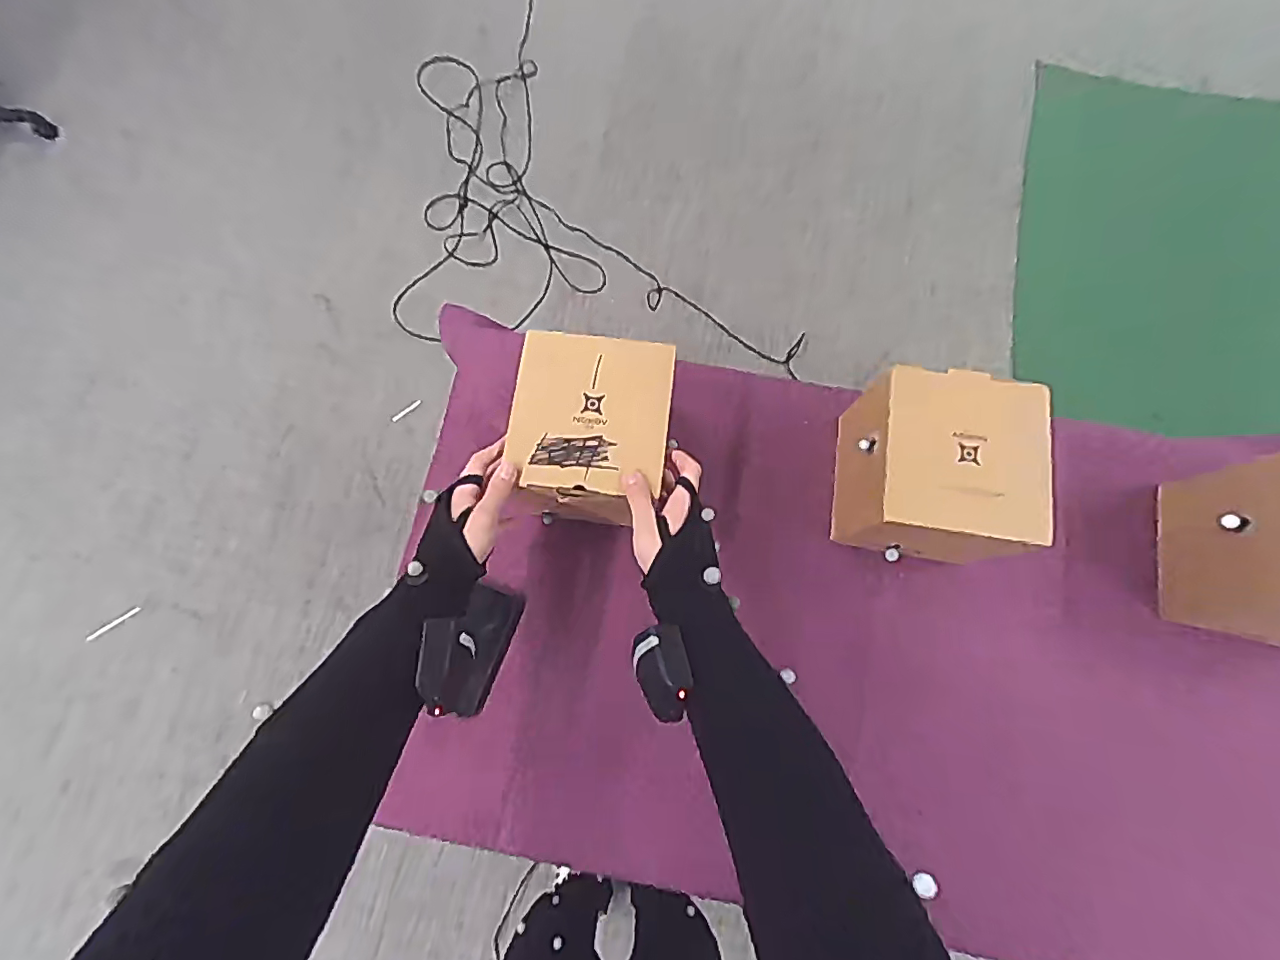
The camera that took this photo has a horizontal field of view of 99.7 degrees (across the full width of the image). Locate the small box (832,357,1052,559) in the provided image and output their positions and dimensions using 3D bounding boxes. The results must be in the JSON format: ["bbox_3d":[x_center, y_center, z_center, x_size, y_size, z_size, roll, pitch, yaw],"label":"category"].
[{"bbox_3d":[0.335,-0.016,0.628,0.168,0.176,0.179,10,76,3],"label":"small box"}]

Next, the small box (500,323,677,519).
[{"bbox_3d":[-0.050,-0.058,0.637,0.168,0.176,0.179,7,75,1],"label":"small box"}]

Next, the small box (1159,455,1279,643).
[{"bbox_3d":[0.734,0.079,0.602,0.168,0.176,0.179,13,75,4],"label":"small box"}]
